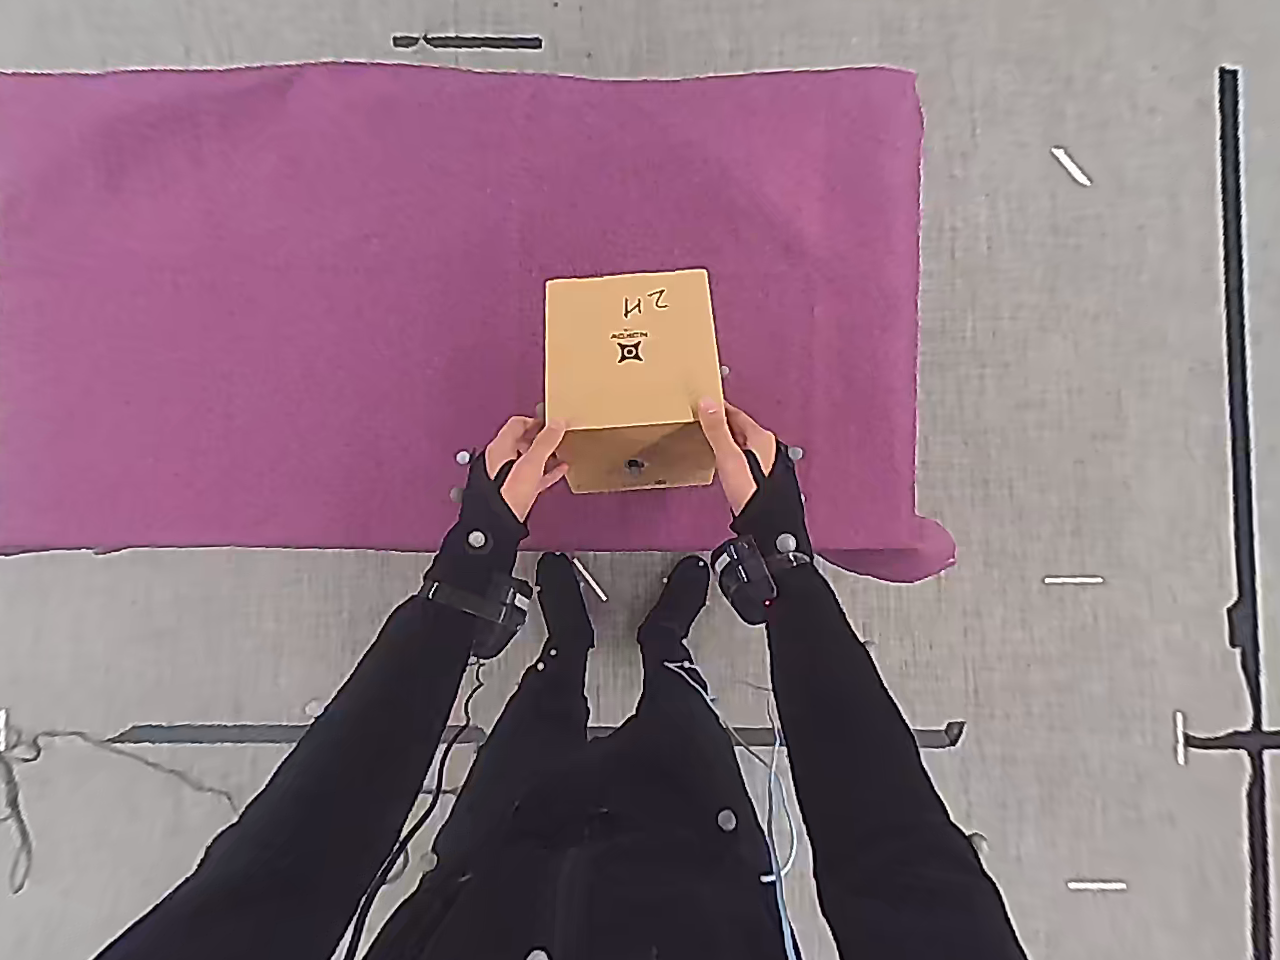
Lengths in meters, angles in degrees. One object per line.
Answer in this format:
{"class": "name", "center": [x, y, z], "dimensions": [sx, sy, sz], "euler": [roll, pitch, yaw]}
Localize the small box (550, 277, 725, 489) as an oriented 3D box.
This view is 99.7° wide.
{"class": "small box", "center": [-0.001, -0.094, 0.596], "dimensions": [0.168, 0.176, 0.179], "euler": [-3, 70, 1]}
